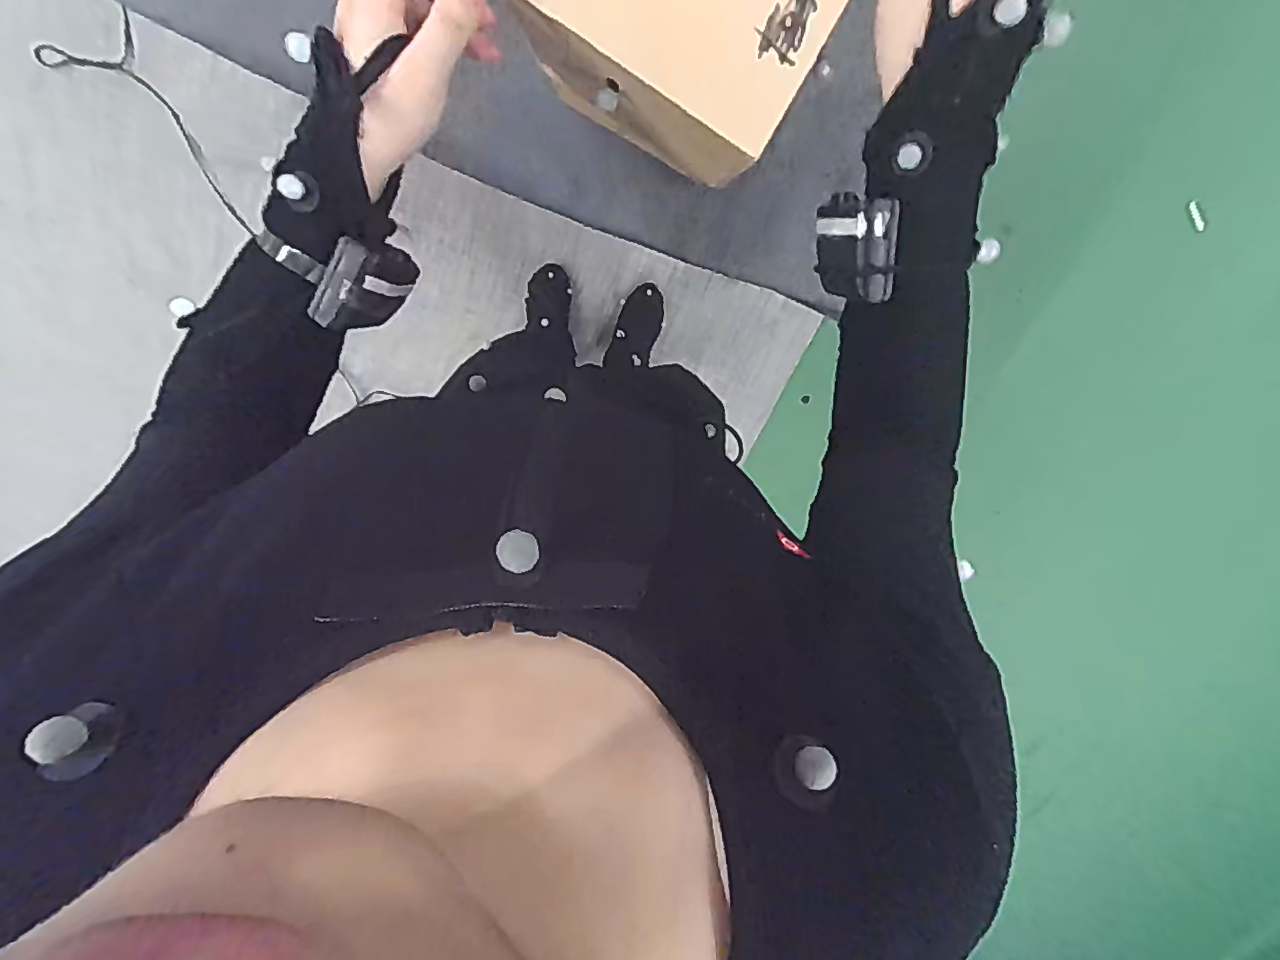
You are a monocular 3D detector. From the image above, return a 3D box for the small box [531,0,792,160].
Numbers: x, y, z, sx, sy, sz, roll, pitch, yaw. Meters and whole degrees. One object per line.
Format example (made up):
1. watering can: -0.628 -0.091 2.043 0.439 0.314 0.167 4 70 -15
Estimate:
1. small box: 0.026 -0.414 0.482 0.179 0.176 0.168 25 112 -12
